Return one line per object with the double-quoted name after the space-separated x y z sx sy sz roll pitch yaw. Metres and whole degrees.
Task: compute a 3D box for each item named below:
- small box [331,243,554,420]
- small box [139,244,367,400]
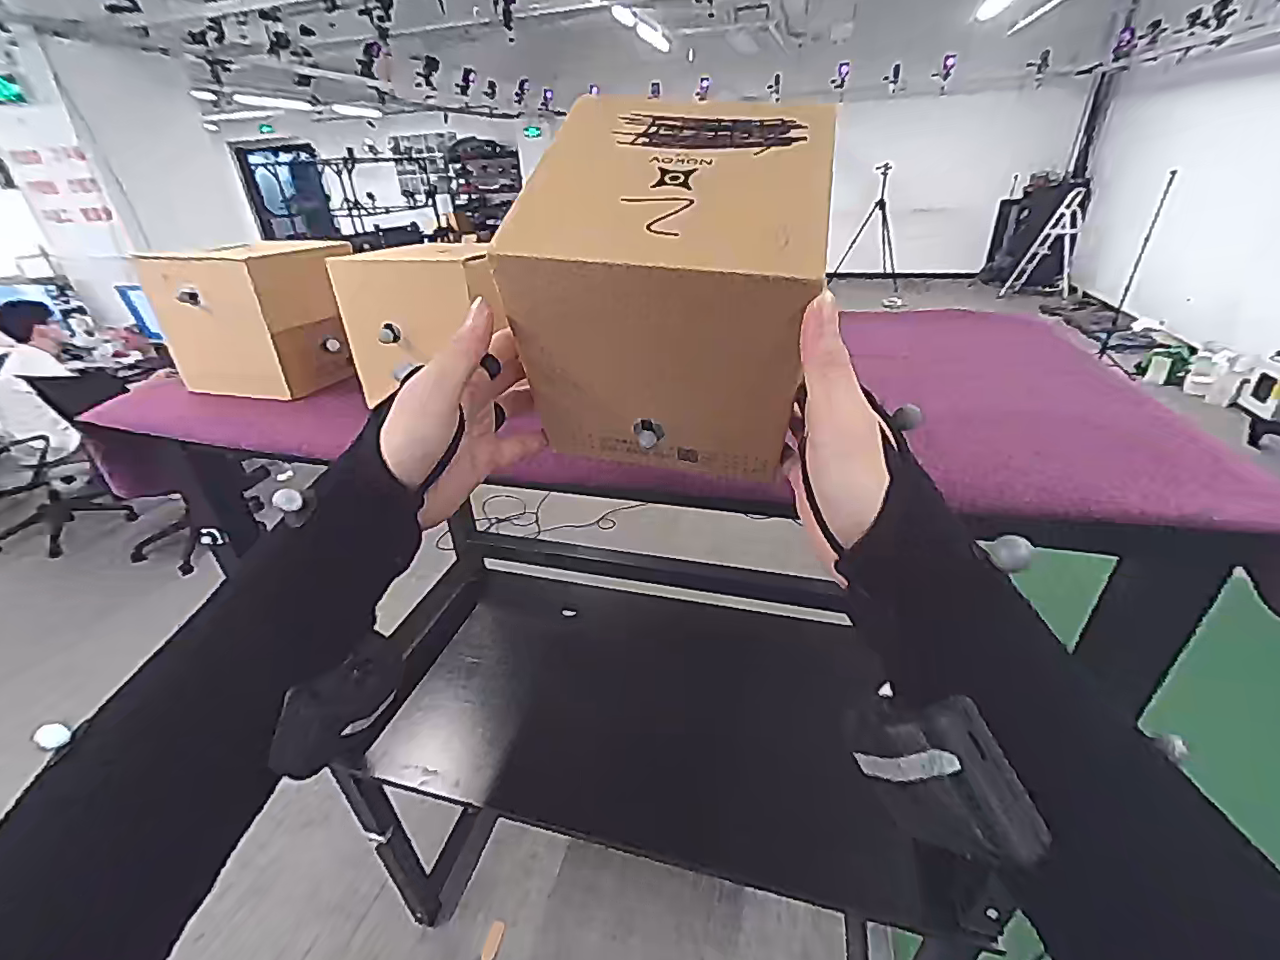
-0.212 -0.178 0.638 0.168 0.176 0.179 6 29 16 "small box"
-0.482 -0.213 0.715 0.179 0.176 0.168 7 30 15 "small box"
